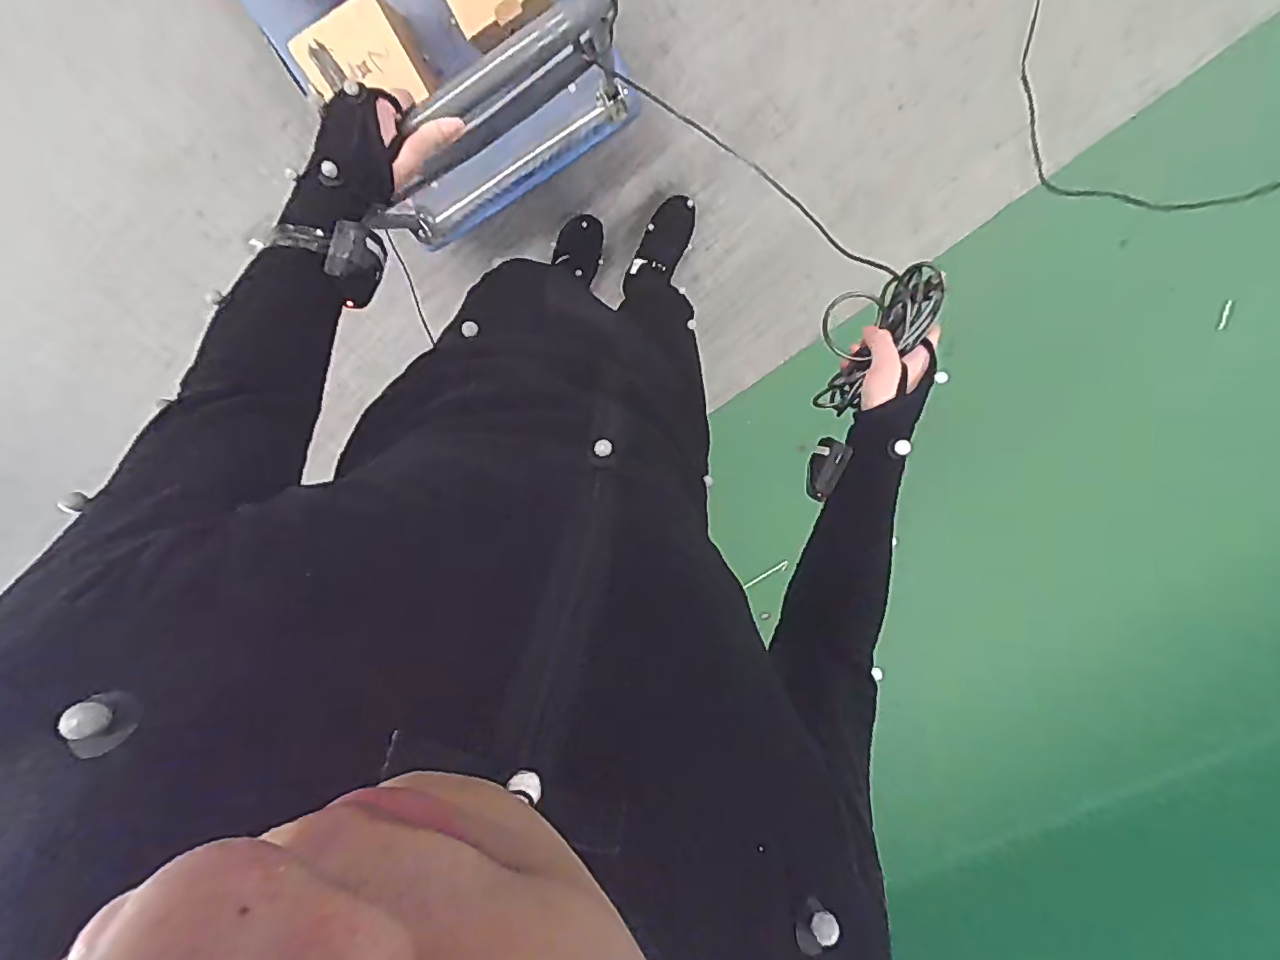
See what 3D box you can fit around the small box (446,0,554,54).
[{"bbox_3d":[-0.264,-0.880,0.925,0.168,0.176,0.179,-25,119,11],"label":"small box"}]
